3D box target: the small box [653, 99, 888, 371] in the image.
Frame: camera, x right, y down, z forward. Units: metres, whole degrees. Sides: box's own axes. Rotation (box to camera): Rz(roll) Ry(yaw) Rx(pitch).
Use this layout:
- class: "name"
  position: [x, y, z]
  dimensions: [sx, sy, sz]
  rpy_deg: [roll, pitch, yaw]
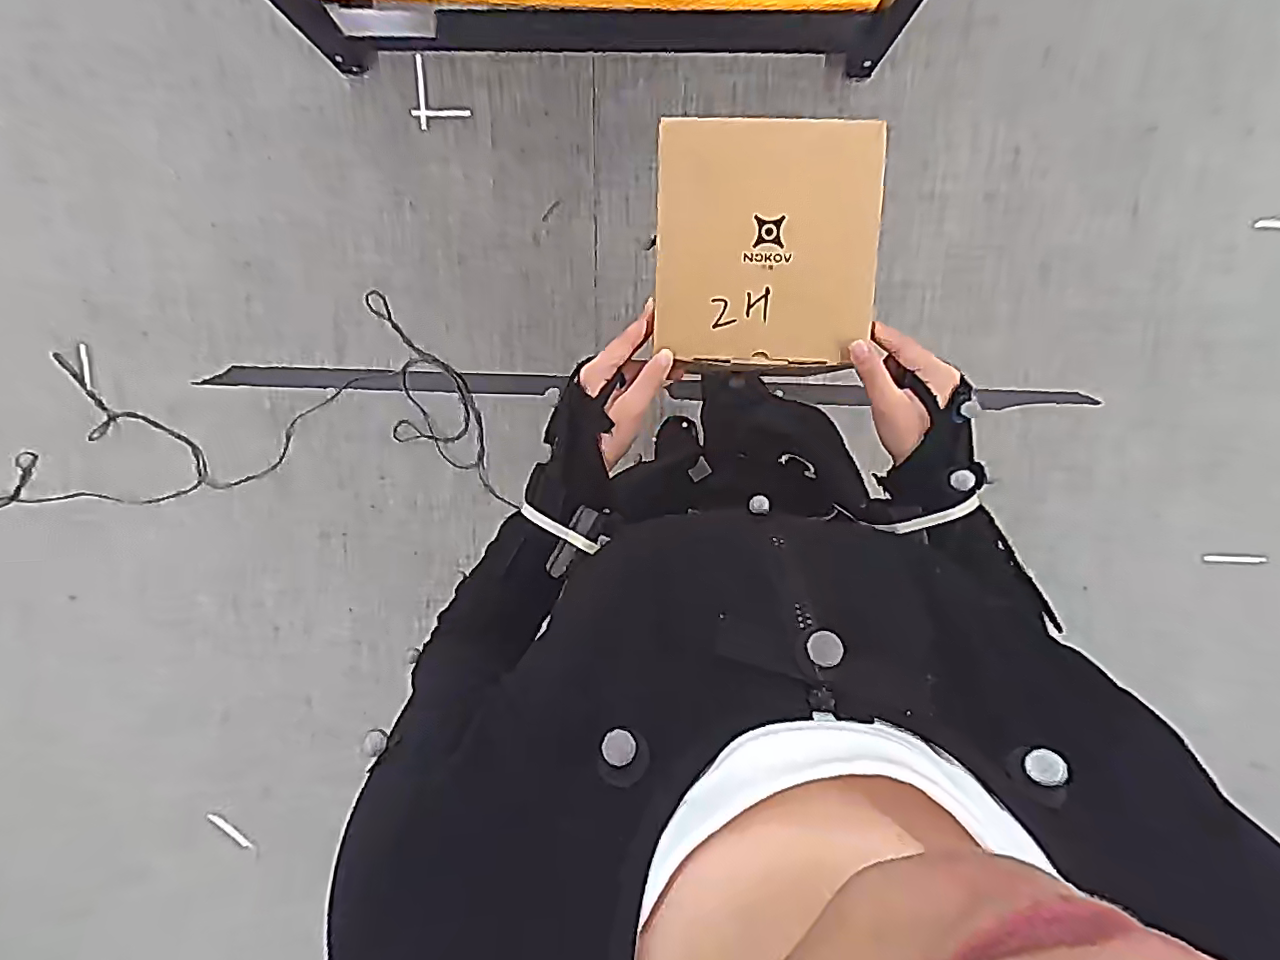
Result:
- class: "small box"
  position: [0.097, -0.196, 0.479]
  dimensions: [0.168, 0.176, 0.179]
  rpy_deg: [2, 97, 2]
